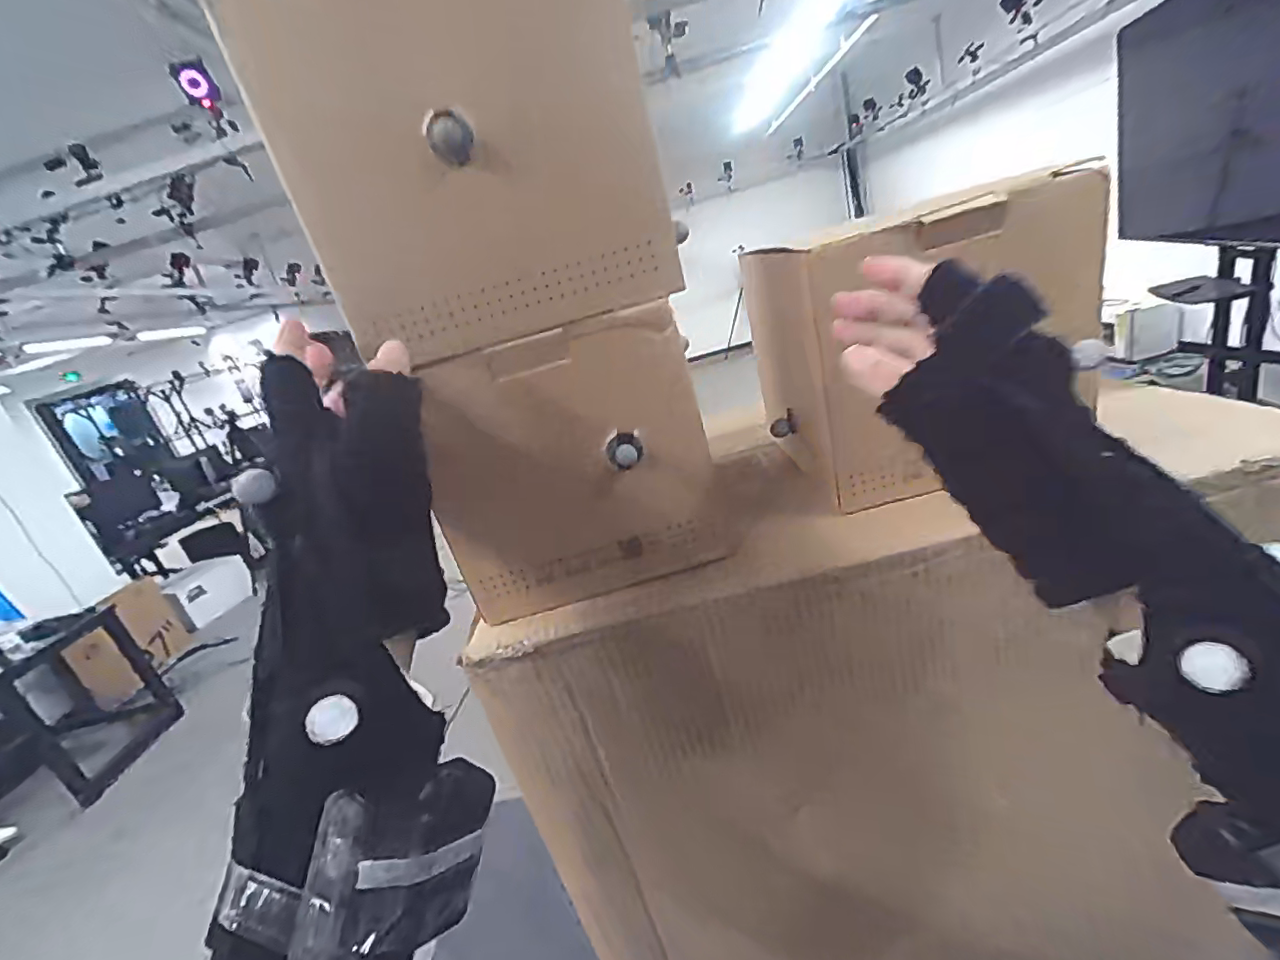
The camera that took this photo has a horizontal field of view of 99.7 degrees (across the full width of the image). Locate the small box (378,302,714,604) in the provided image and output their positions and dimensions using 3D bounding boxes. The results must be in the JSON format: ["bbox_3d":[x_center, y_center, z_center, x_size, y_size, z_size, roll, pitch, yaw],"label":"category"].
[{"bbox_3d":[-0.053,-0.027,0.399,0.168,0.176,0.179,-15,21,0],"label":"small box"}]

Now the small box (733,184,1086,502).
[{"bbox_3d":[0.179,-0.096,0.401,0.168,0.176,0.179,-14,23,4],"label":"small box"}]

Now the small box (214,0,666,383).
[{"bbox_3d":[-0.090,-0.172,0.332,0.179,0.176,0.168,-17,23,-7],"label":"small box"}]
